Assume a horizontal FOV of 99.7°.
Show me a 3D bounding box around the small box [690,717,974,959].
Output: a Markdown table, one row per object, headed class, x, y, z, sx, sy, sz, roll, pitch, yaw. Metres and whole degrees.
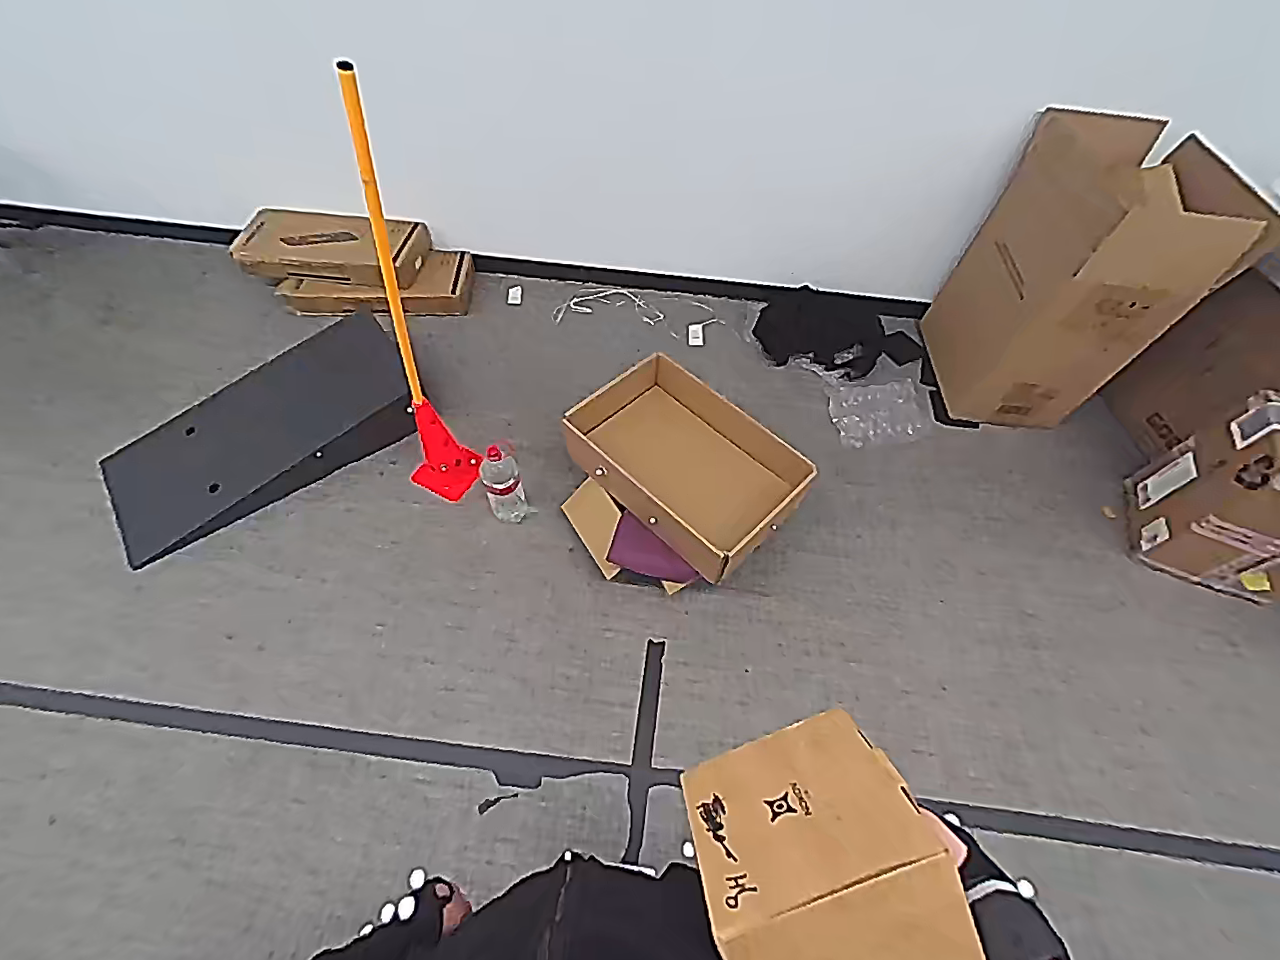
| class | x | y | z | sx | sy | sz | roll | pitch | yaw |
| --- | --- | --- | --- | --- | --- | --- | --- | --- | --- |
| small box | 0.162 | 0.356 | 0.478 | 0.179 | 0.168 | 0.176 | -21 | 100 | -1 |
